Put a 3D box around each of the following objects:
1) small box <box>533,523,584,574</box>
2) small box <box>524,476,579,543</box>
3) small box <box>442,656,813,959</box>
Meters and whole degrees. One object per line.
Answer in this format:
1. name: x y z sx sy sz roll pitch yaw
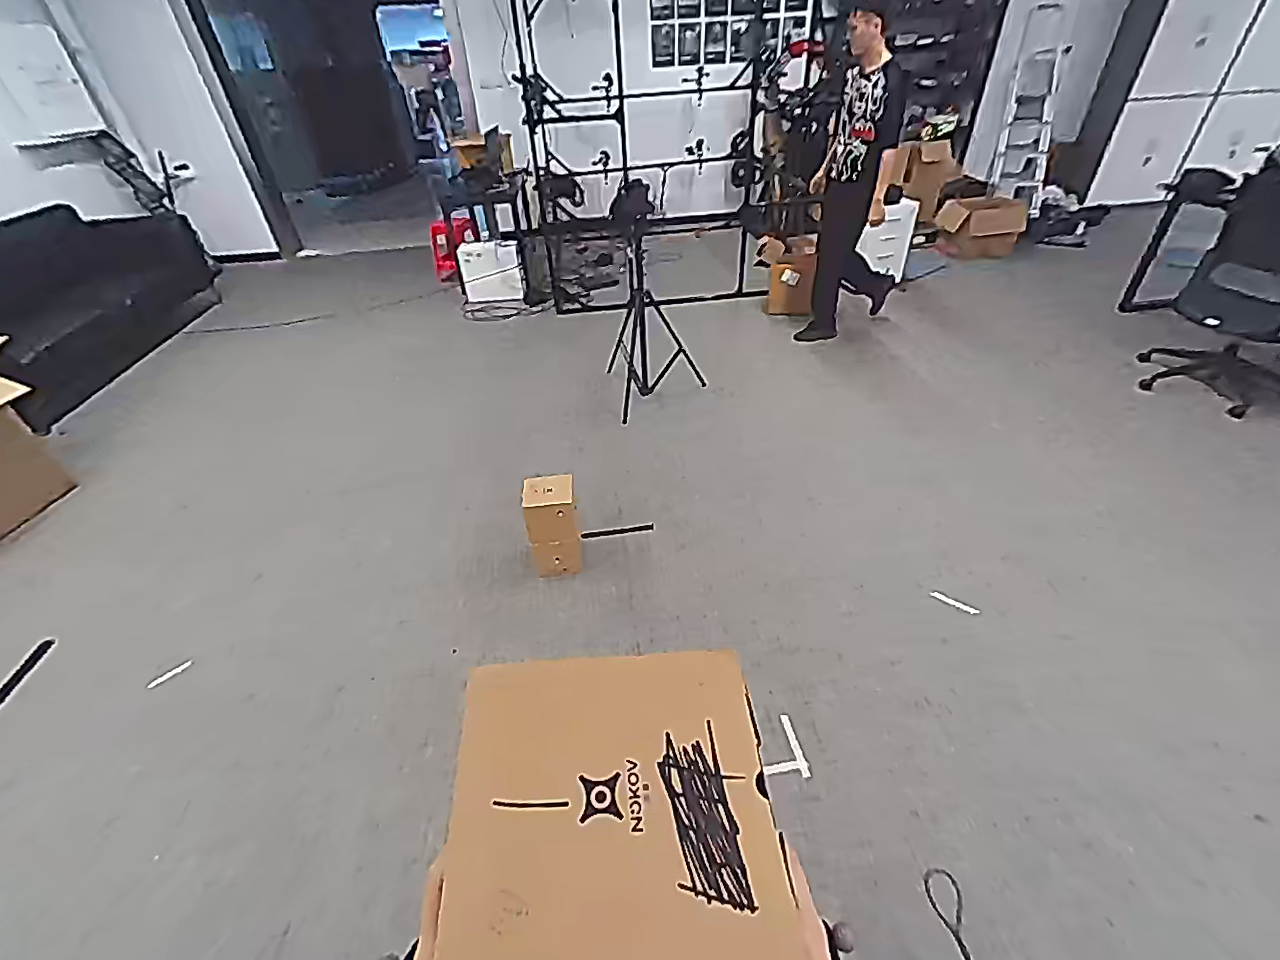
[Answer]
1. small box: -0.305 0.241 2.044 0.168 0.176 0.179 -6 39 -3
2. small box: -0.312 0.108 1.944 0.179 0.176 0.168 -6 37 -3
3. small box: -0.016 0.233 0.353 0.179 0.176 0.168 -2 45 -6
